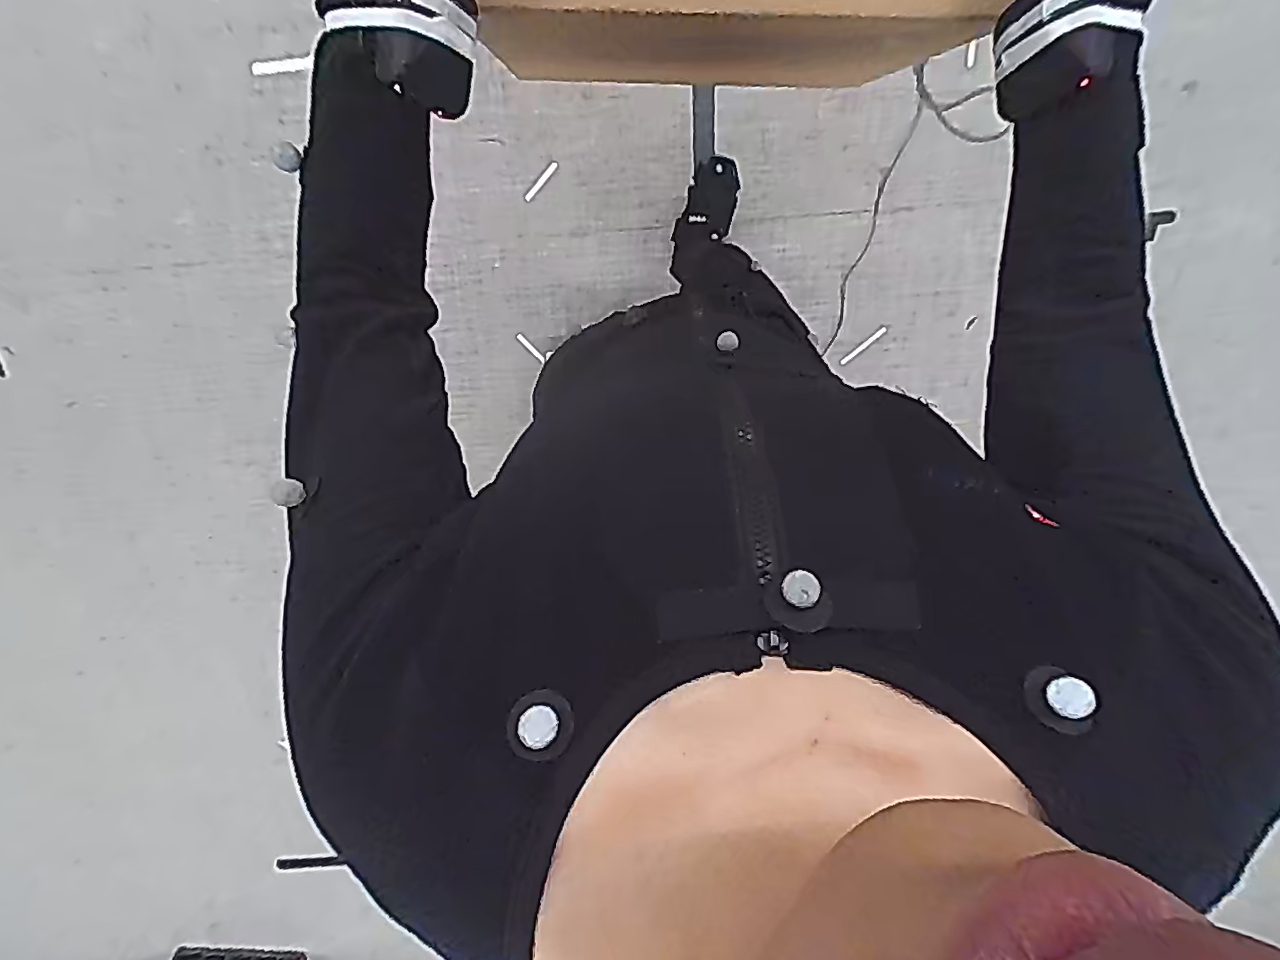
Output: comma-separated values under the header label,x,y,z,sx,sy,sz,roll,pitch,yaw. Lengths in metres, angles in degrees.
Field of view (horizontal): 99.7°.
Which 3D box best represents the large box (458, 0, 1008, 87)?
label,x,y,z,sx,sy,sz,roll,pitch,yaw
large box,0.059,-0.536,0.439,0.408,0.320,0.320,-1,119,-3
